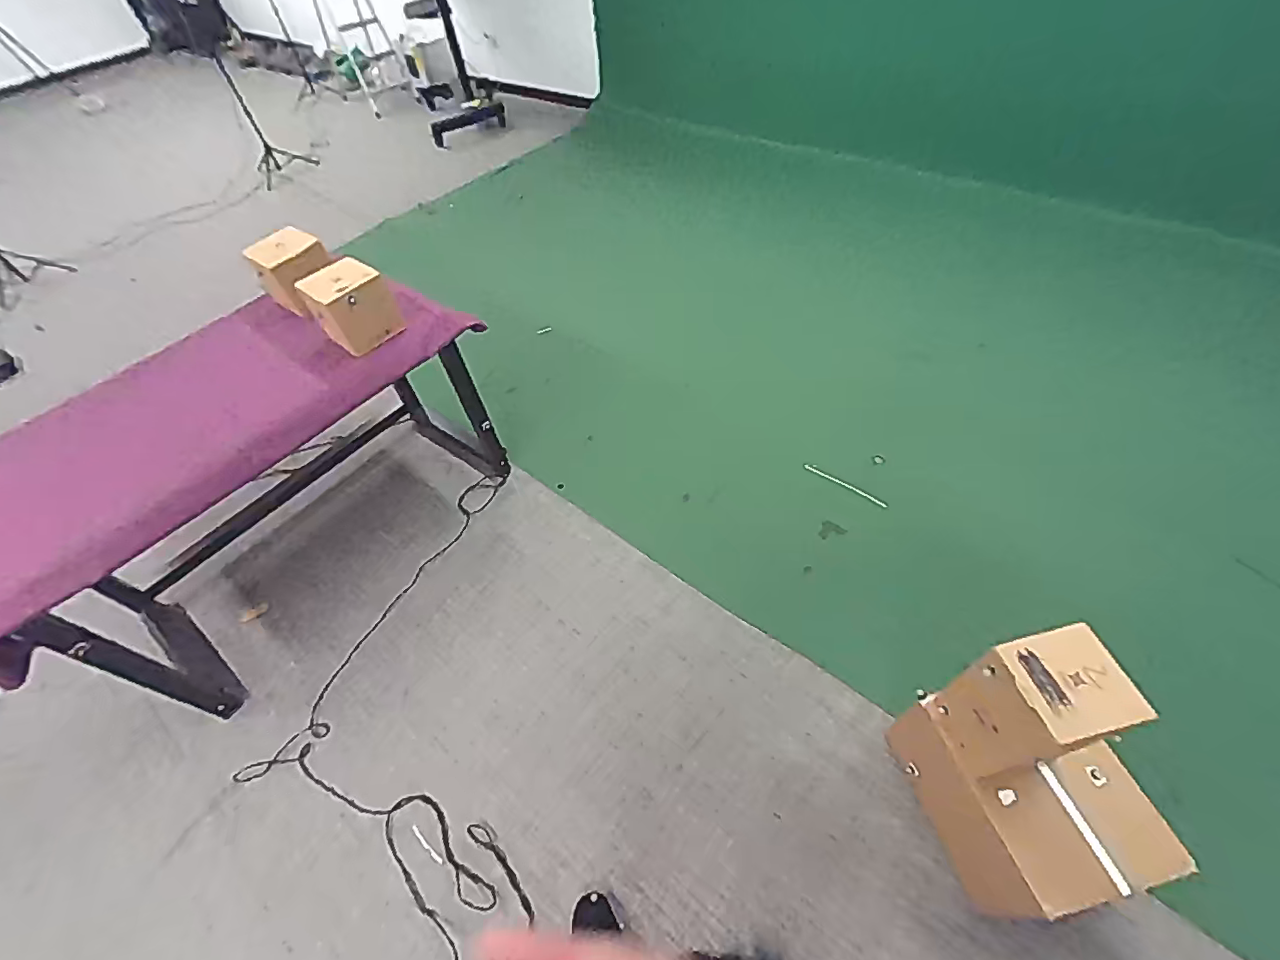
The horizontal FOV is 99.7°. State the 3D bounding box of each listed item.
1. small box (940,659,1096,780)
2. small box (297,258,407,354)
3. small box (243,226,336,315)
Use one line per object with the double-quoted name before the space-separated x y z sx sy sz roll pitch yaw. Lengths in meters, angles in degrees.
"small box" 0.738 0.486 1.088 0.179 0.176 0.168 -11 52 -4
"small box" -0.772 -0.469 1.463 0.179 0.176 0.168 31 62 29
"small box" -1.015 -0.619 1.605 0.179 0.176 0.168 30 63 25
